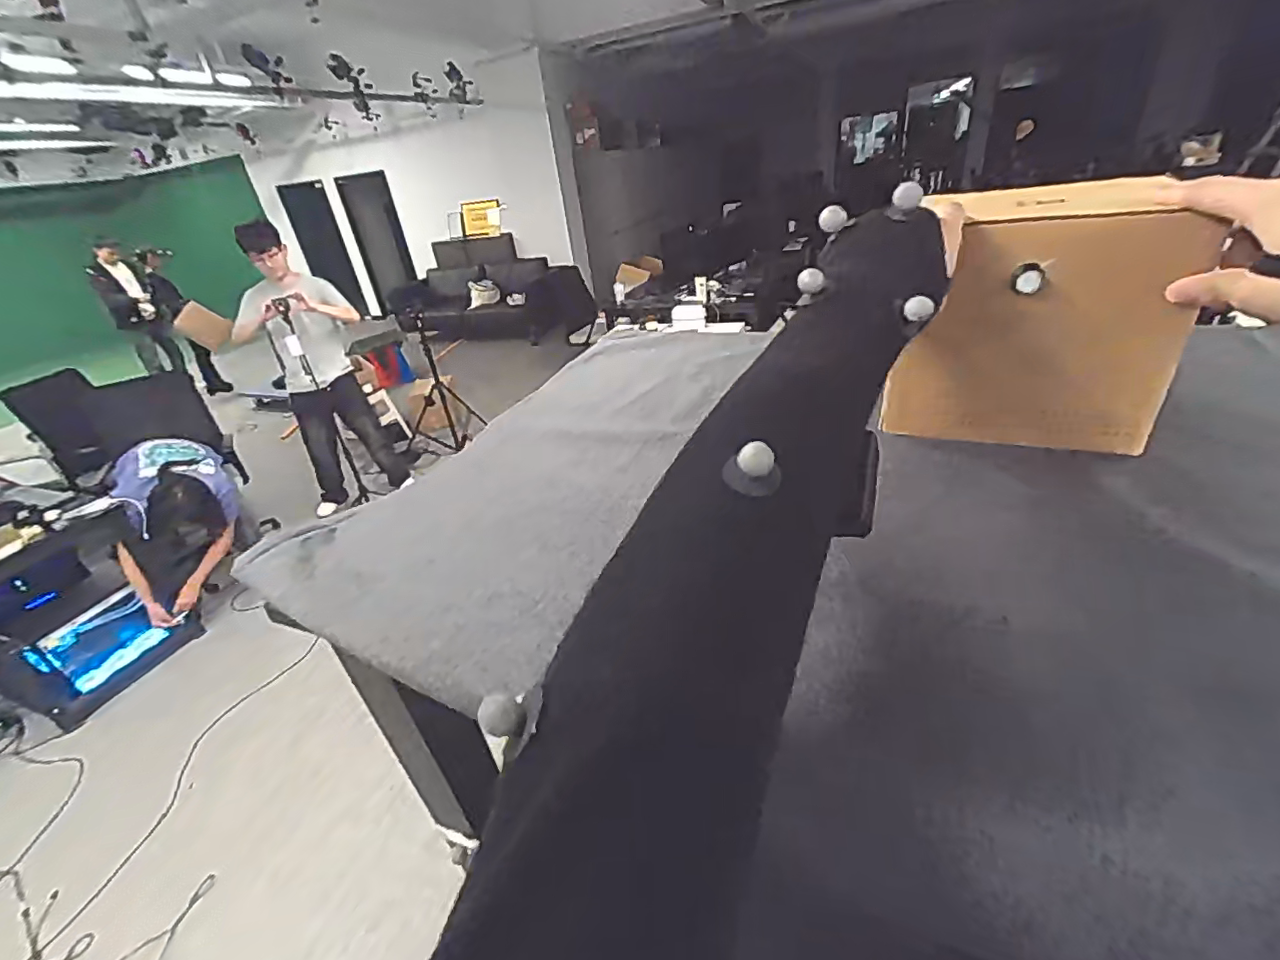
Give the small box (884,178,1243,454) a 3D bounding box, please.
[{"bbox_3d":[0.311,-0.135,0.442,0.179,0.176,0.168,9,34,27],"label":"small box"}]
